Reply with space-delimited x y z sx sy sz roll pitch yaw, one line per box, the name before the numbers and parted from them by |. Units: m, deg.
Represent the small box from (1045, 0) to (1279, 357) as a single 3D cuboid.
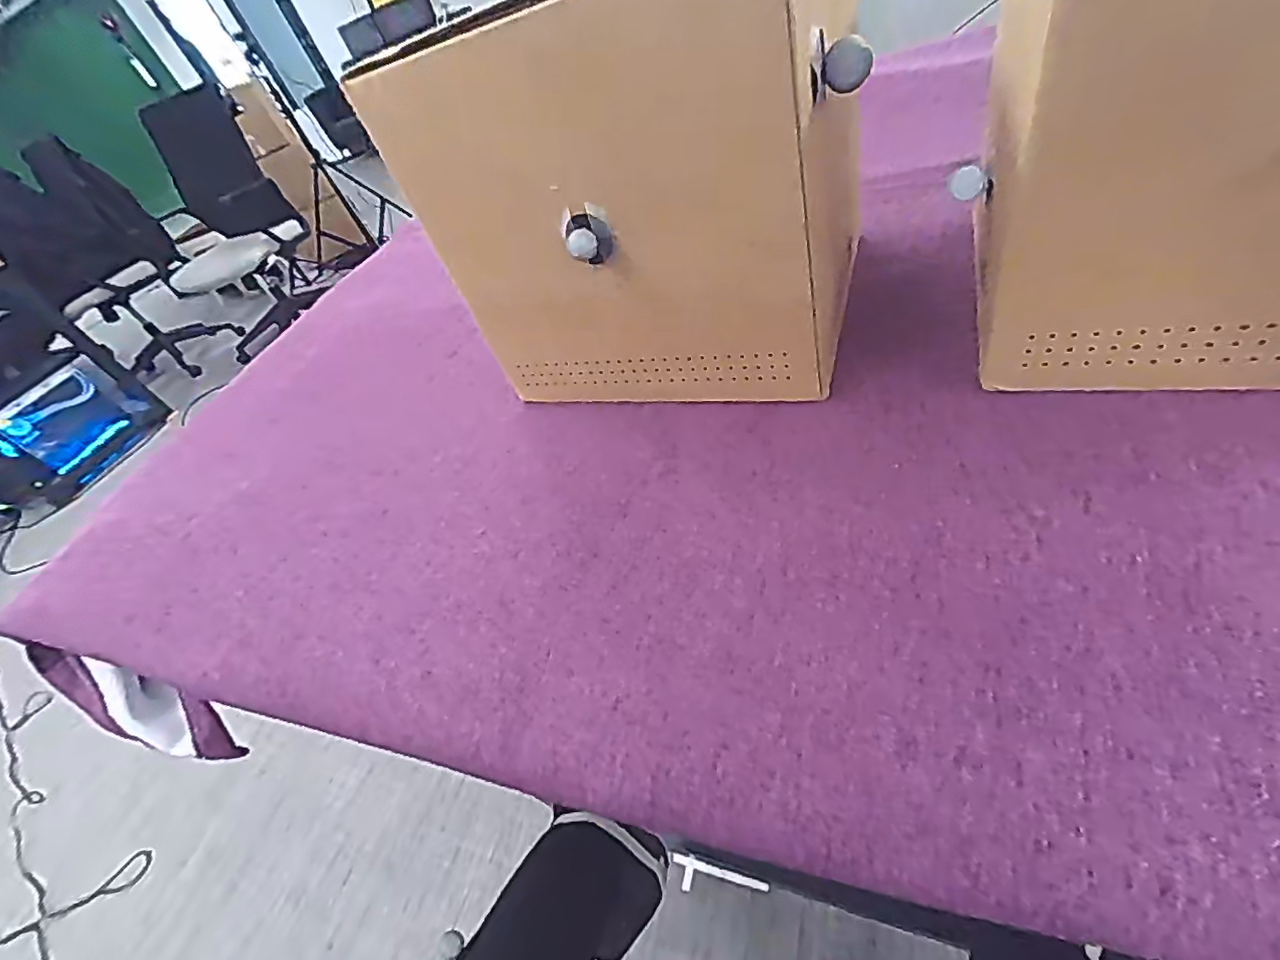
small box | 0.269 -0.157 0.149 0.179 0.176 0.168 -15 83 15
